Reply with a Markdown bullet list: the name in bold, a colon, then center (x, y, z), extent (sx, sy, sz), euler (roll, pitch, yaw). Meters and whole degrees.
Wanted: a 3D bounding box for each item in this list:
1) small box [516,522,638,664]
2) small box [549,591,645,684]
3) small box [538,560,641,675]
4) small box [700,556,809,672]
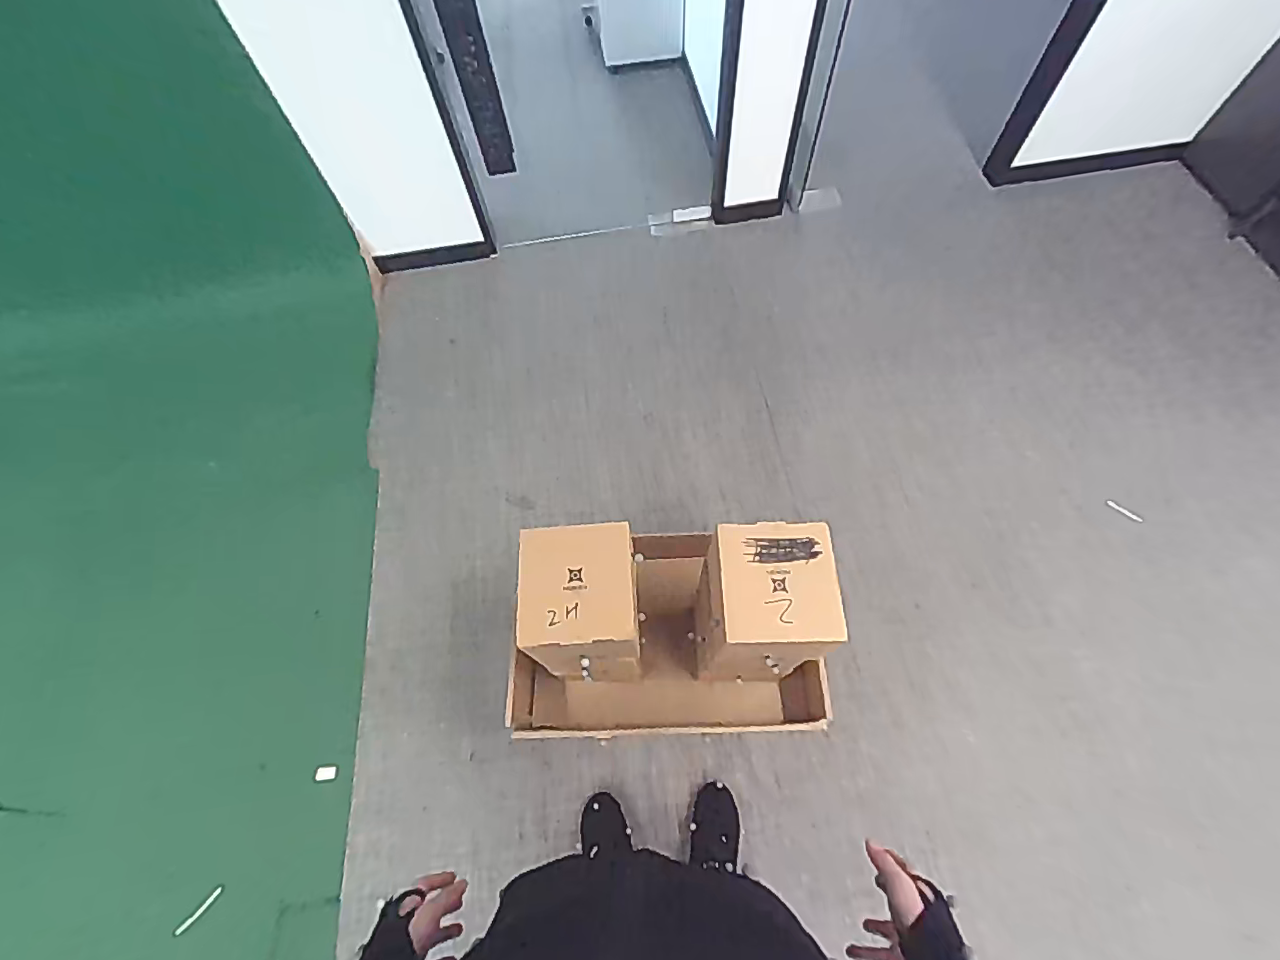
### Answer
- **small box**: center (-0.090, 0.182, 0.849), extent (0.168, 0.176, 0.179), euler (-4, 63, 1)
- **small box**: center (-0.082, 0.333, 1.141), extent (0.179, 0.176, 0.168), euler (1, 63, 3)
- **small box**: center (-0.085, 0.255, 0.997), extent (0.168, 0.176, 0.179), euler (-1, 63, 3)
- **small box**: center (0.198, 0.248, 0.981), extent (0.168, 0.176, 0.179), euler (-1, 62, 2)
